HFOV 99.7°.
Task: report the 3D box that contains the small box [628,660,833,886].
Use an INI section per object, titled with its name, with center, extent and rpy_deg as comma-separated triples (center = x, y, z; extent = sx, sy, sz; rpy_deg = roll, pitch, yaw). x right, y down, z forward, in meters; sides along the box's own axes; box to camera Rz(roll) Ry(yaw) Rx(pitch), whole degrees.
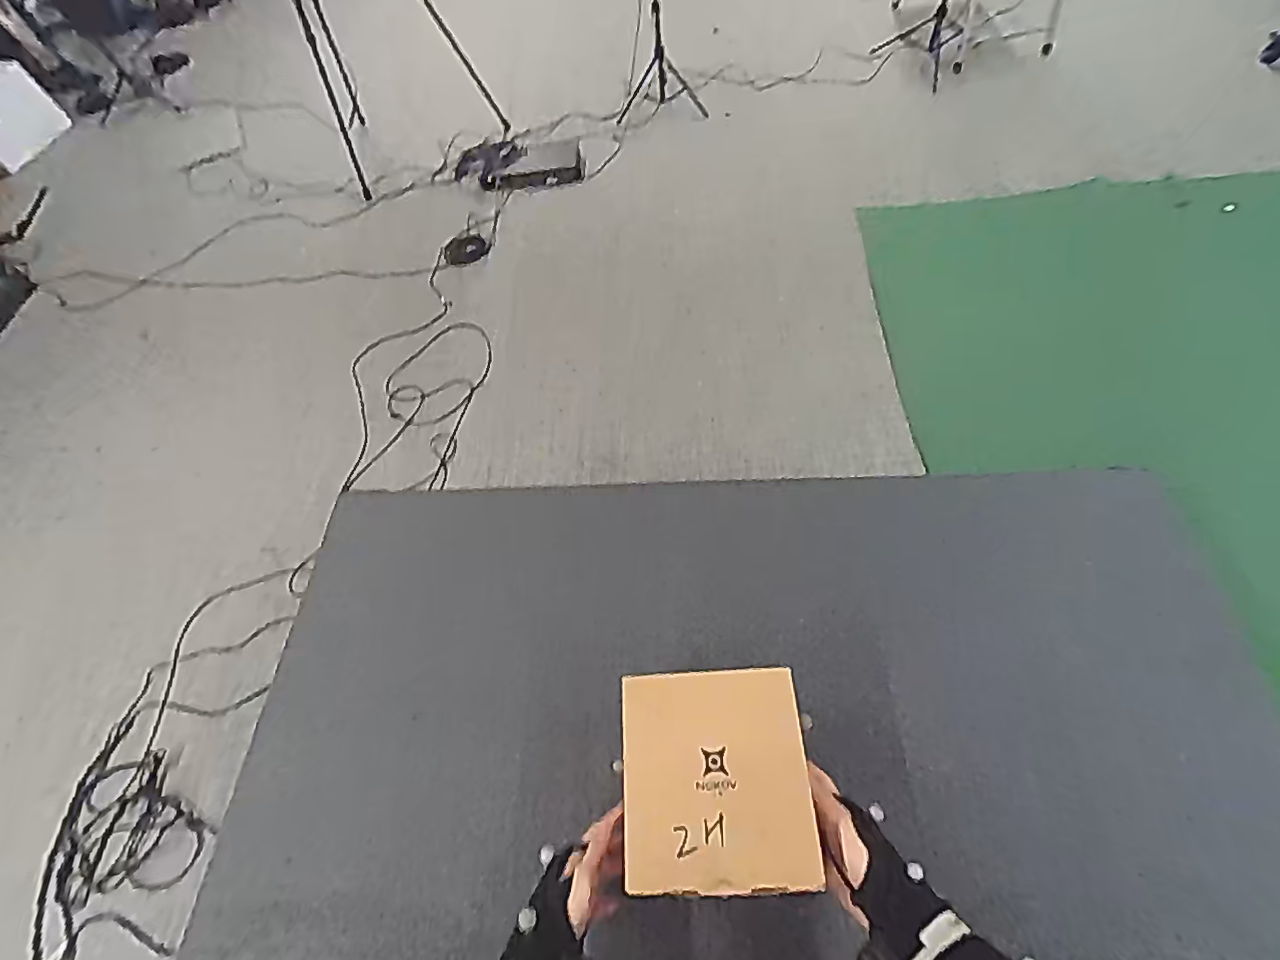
[small box]
center = 0.079, 0.293, 0.543
extent = 0.168, 0.176, 0.179
rpy_deg = -5, 58, 5
